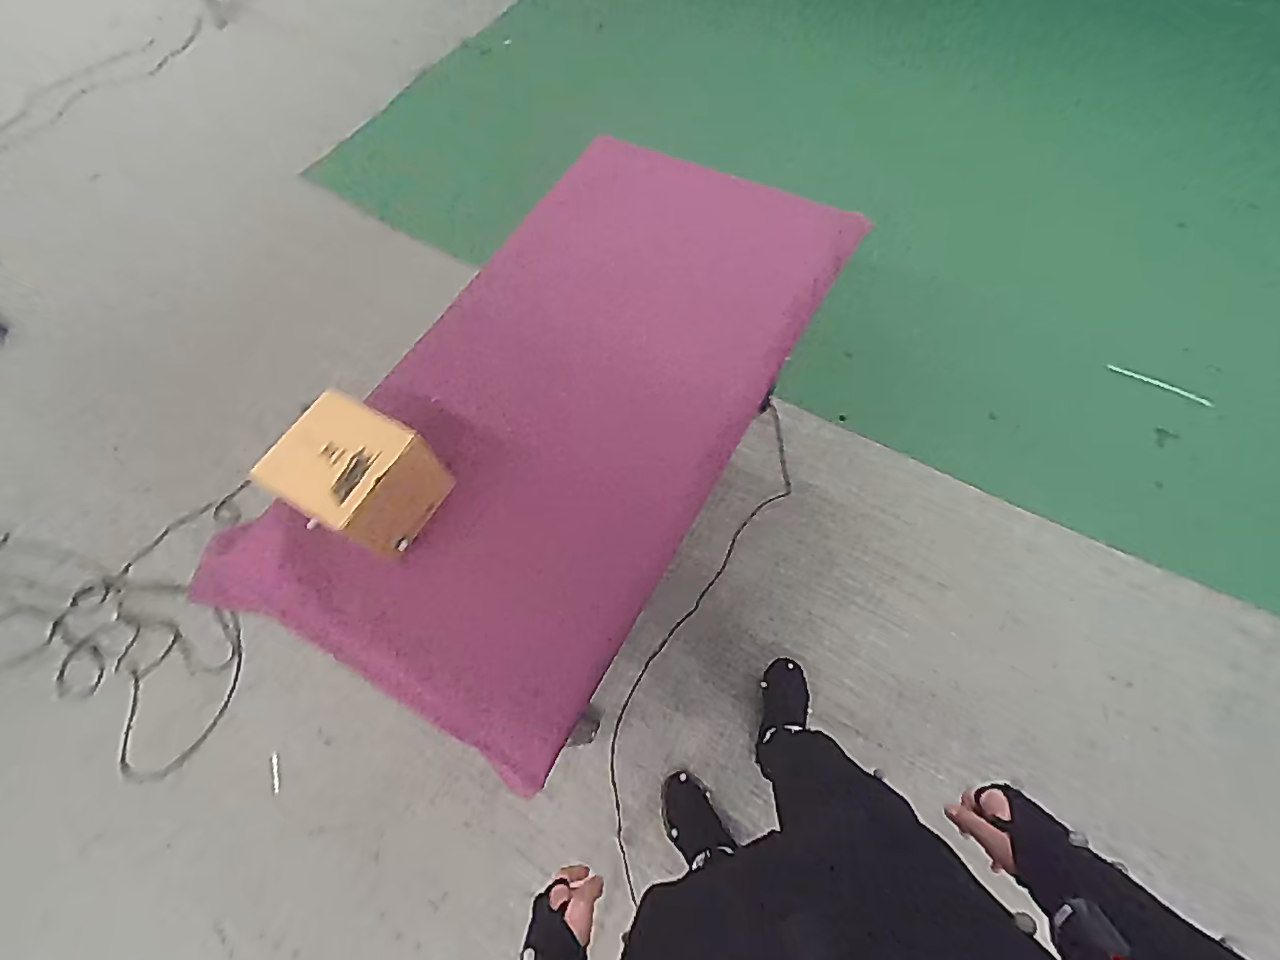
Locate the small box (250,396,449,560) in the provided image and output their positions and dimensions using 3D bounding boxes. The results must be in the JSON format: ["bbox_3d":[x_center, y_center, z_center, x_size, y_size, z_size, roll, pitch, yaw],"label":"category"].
[{"bbox_3d":[-0.432,0.006,0.840,0.179,0.176,0.168,26,68,14],"label":"small box"}]
